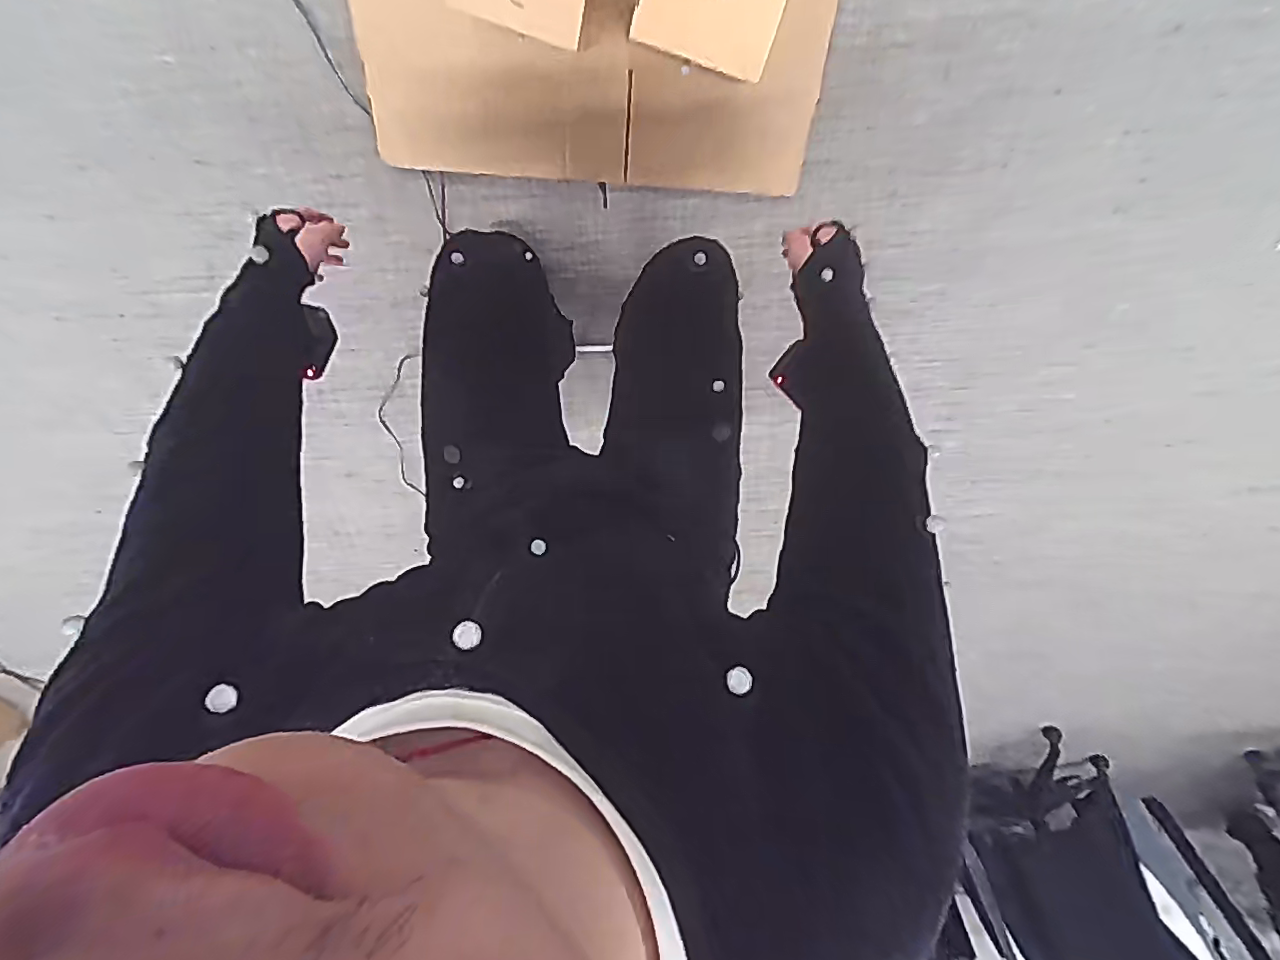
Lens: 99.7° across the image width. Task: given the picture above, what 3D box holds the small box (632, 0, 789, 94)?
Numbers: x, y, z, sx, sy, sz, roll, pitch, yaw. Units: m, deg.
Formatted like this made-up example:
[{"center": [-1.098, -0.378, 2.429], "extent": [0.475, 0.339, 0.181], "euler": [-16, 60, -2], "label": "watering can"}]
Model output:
[{"center": [0.095, -0.647, 0.723], "extent": [0.179, 0.176, 0.168], "euler": [13, 126, -10], "label": "small box"}]
